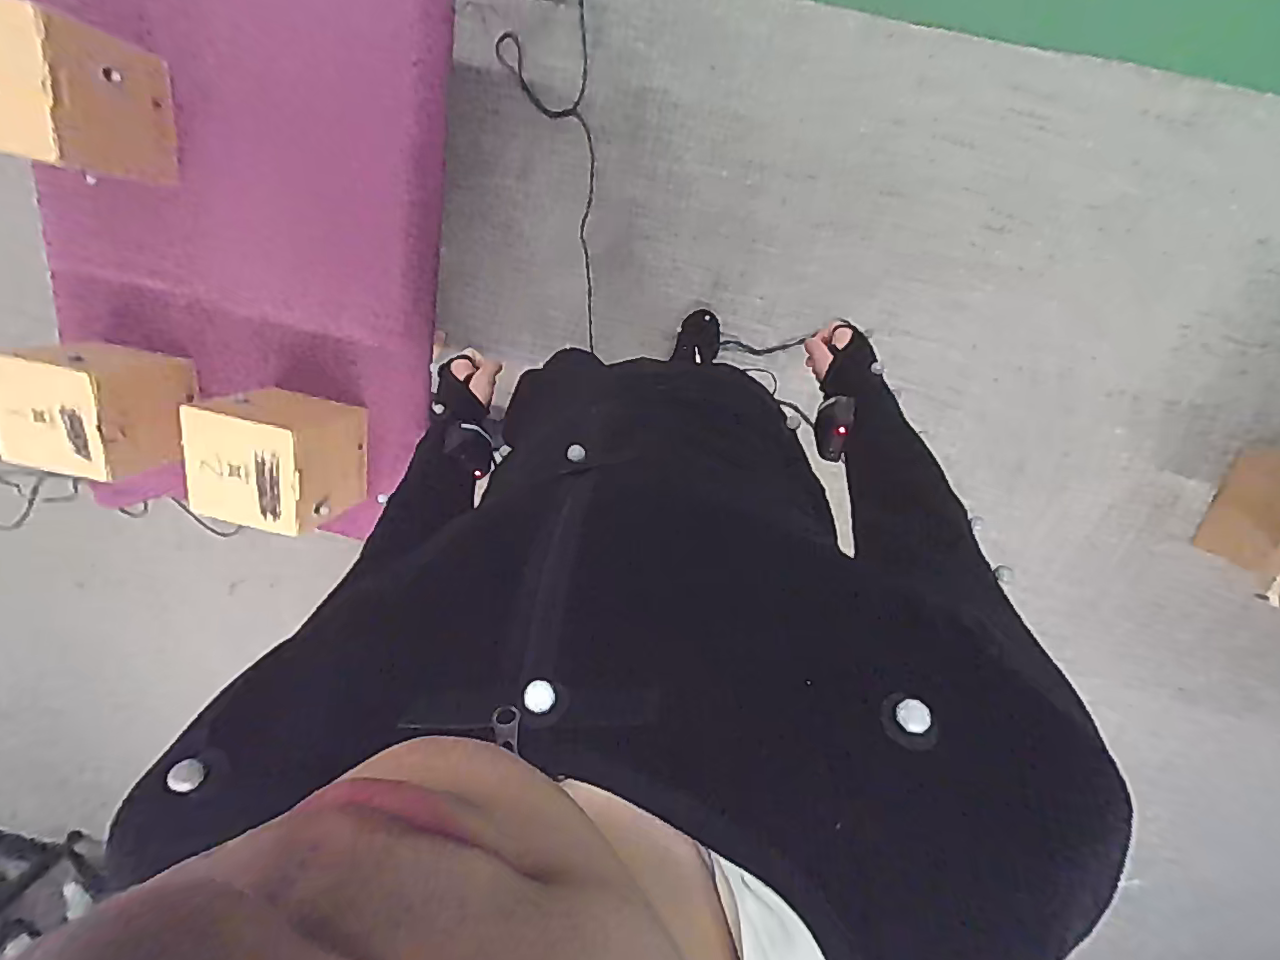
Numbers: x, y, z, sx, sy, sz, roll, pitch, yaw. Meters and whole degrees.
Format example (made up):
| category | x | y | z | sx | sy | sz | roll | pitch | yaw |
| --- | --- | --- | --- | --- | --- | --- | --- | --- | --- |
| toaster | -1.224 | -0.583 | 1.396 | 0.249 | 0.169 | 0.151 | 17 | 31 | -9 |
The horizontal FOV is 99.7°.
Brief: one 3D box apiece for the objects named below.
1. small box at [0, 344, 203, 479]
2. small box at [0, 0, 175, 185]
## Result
| category | x | y | z | sx | sy | sz | roll | pitch | yaw |
| --- | --- | --- | --- | --- | --- | --- | --- | --- | --- |
| small box | -0.843 | -0.118 | 0.864 | 0.179 | 0.176 | 0.168 | 11 | 109 | 4 |
| small box | -0.770 | -0.510 | 0.723 | 0.179 | 0.176 | 0.168 | 12 | 109 | 3 |
